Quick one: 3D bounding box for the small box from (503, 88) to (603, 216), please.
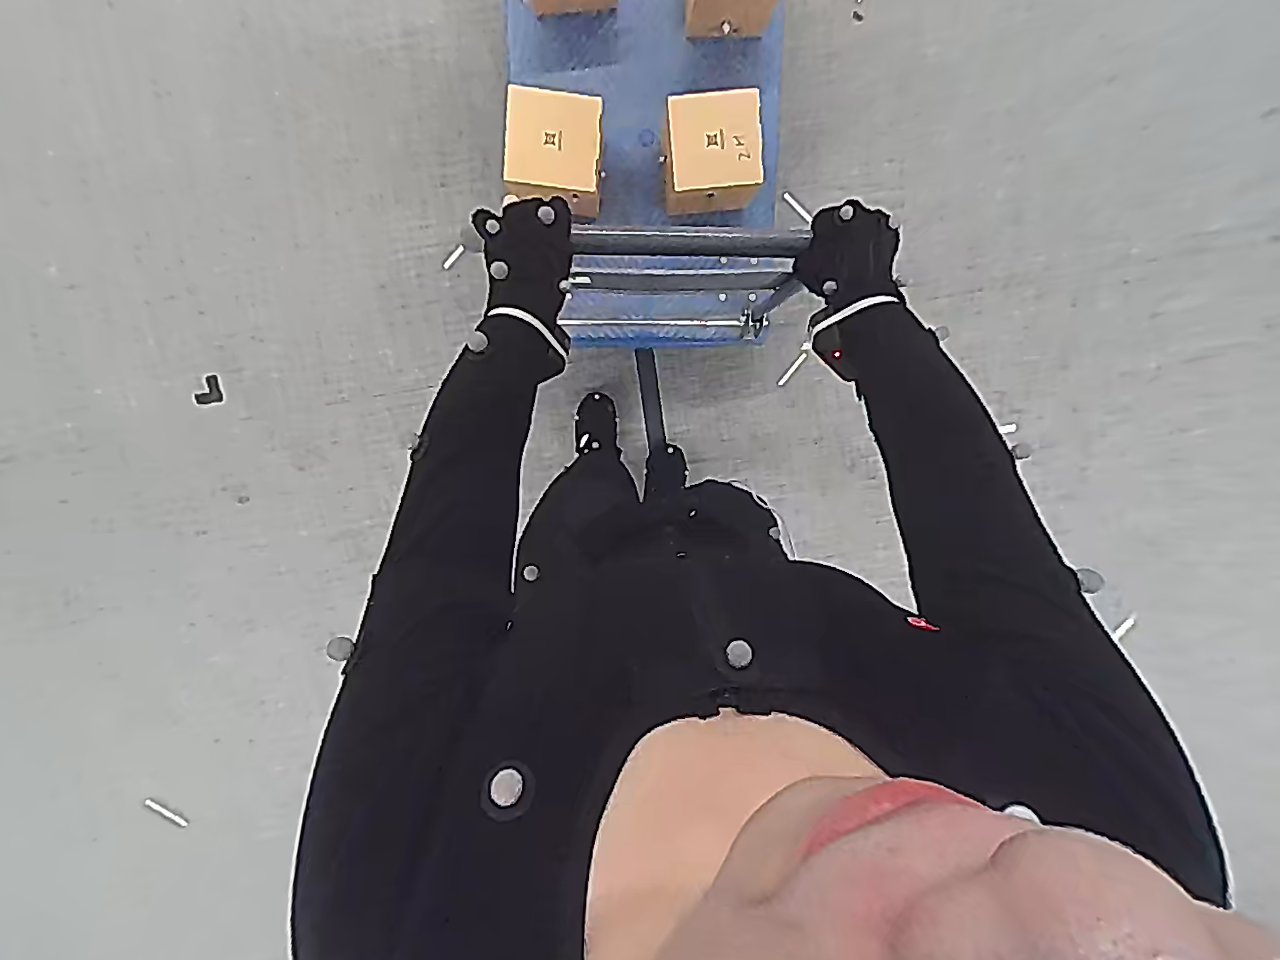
[{"bbox_3d":[-0.170,-0.651,1.093,0.179,0.176,0.168,5,101,-5],"label":"small box"}]

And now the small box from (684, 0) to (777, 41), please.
[{"bbox_3d":[0.174,-0.995,1.040,0.168,0.176,0.179,-2,102,-2],"label":"small box"}]

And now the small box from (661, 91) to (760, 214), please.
[{"bbox_3d":[0.137,-0.658,1.105,0.179,0.176,0.168,-6,102,-2],"label":"small box"}]
